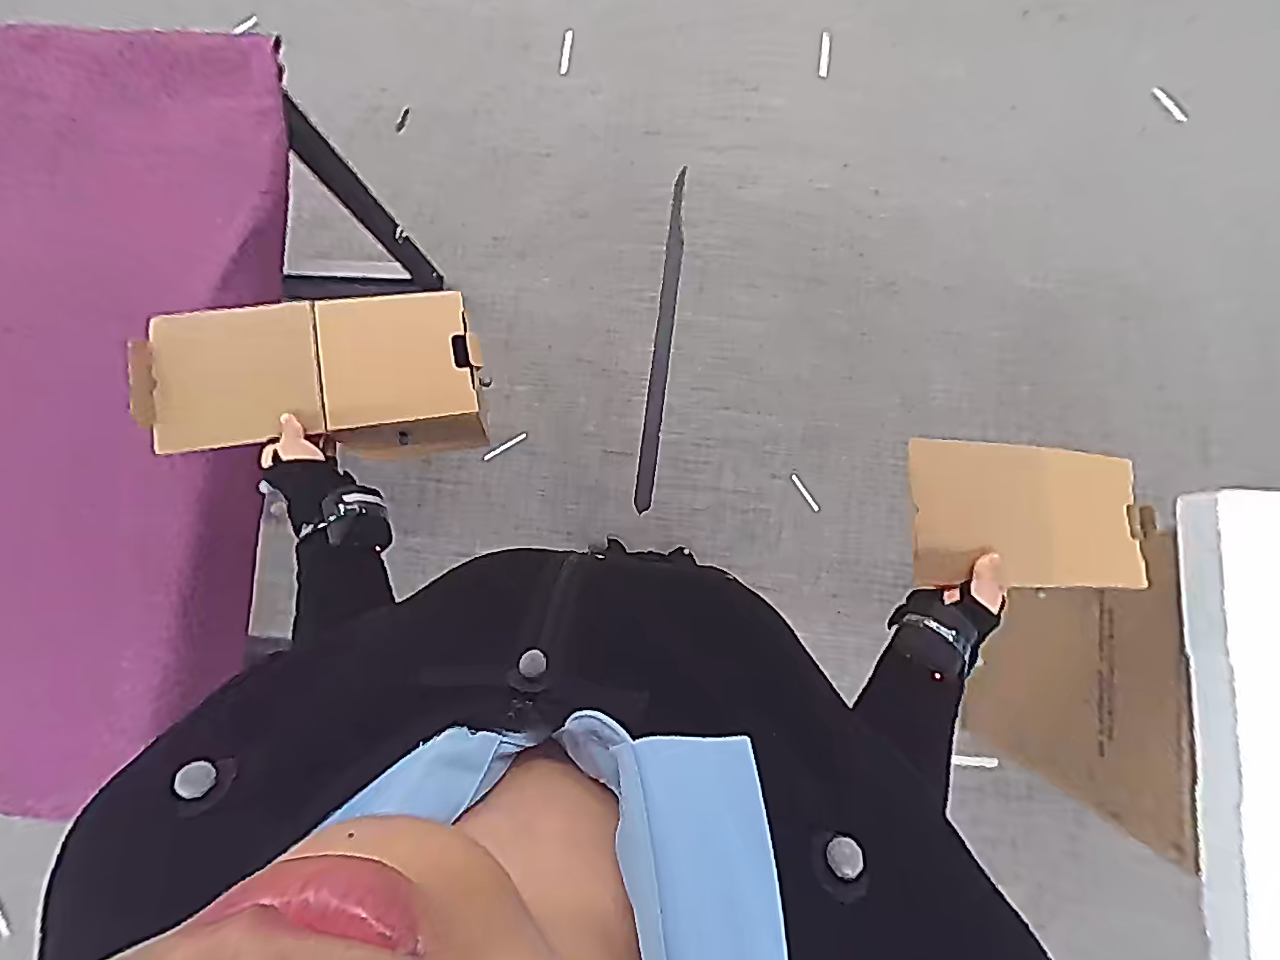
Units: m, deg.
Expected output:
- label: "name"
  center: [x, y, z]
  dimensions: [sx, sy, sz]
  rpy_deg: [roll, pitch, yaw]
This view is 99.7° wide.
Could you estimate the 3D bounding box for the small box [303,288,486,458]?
- label: "small box"
  center: [-0.311, -0.131, 0.715]
  dimensions: [0.179, 0.176, 0.168]
  rpy_deg: [-9, 83, -12]
